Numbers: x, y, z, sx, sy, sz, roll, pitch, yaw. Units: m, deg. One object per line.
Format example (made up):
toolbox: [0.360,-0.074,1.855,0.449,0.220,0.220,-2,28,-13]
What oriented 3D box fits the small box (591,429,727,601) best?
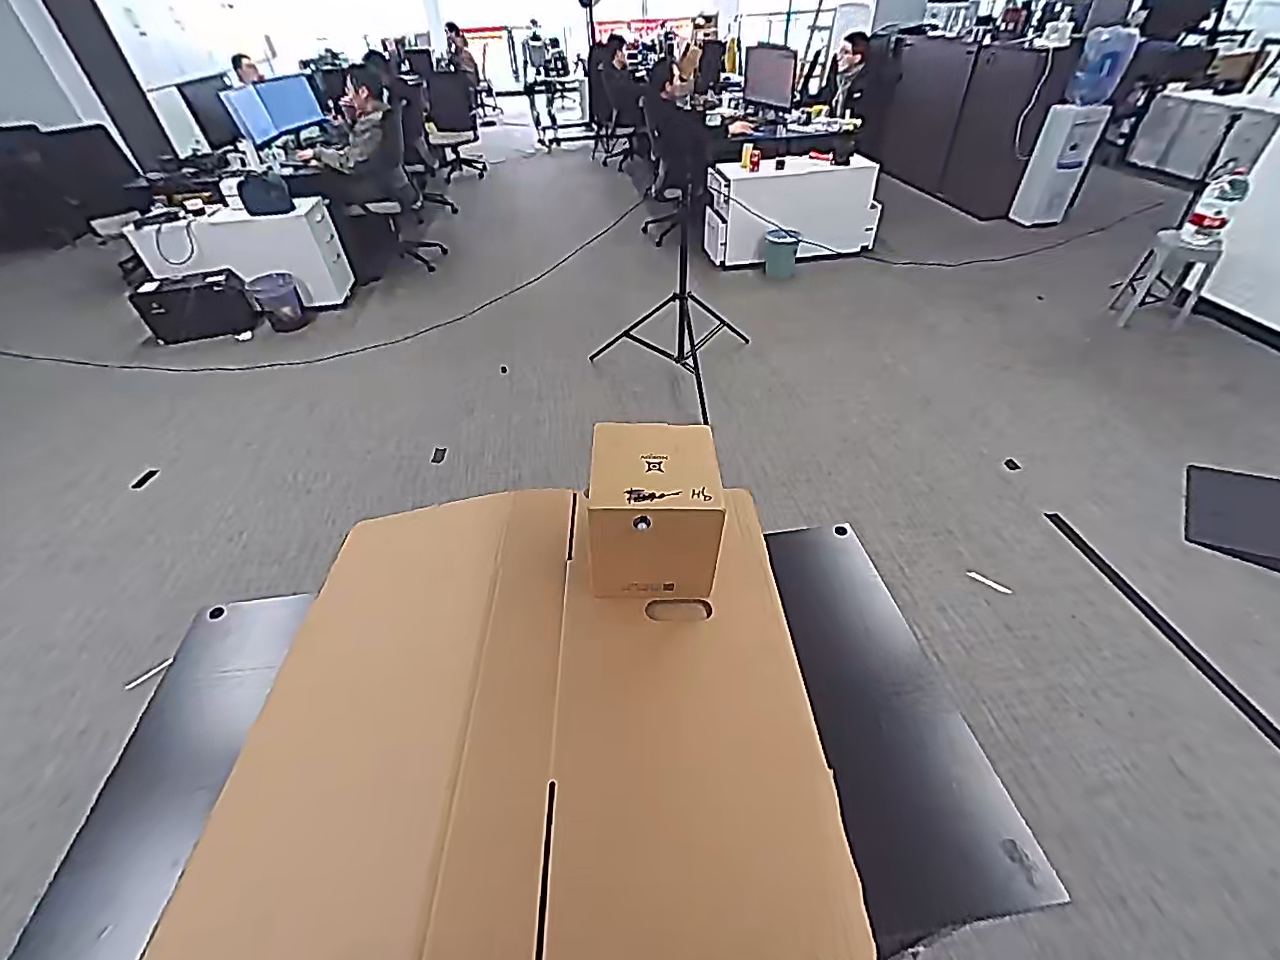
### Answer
small box: [0.020,0.047,0.756,0.168,0.176,0.179,0,40,-1]
